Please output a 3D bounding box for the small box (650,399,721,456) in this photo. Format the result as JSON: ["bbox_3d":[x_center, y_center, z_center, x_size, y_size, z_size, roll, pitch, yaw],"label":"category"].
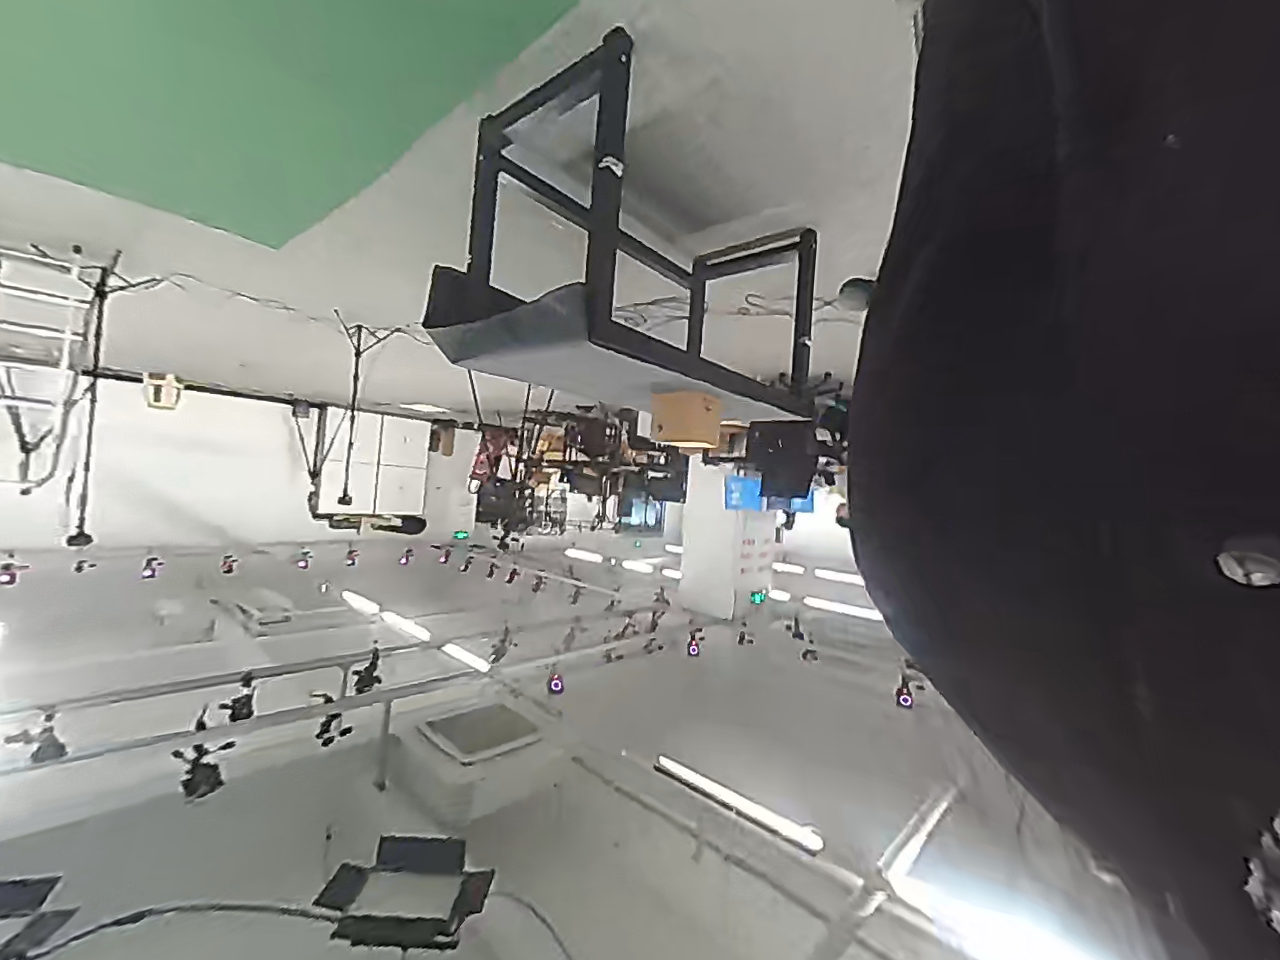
[{"bbox_3d":[0.158,-0.176,1.826,0.179,0.176,0.168,4,179,42],"label":"small box"}]
